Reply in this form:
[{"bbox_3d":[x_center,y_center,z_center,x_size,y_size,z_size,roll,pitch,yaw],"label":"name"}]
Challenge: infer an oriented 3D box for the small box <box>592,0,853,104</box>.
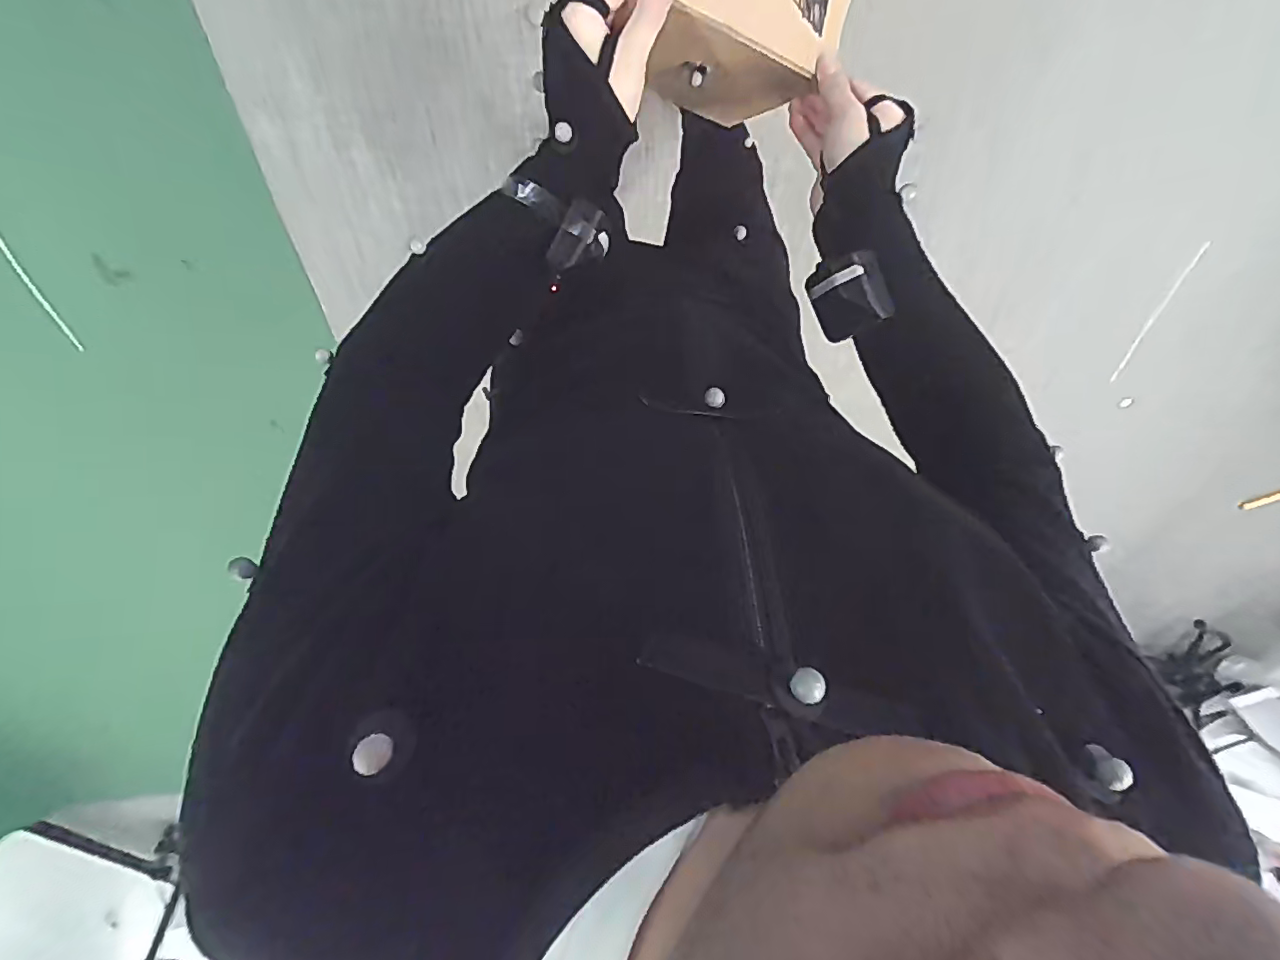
[{"bbox_3d":[0.076,-0.462,0.475,0.179,0.176,0.168,5,108,-25],"label":"small box"}]
